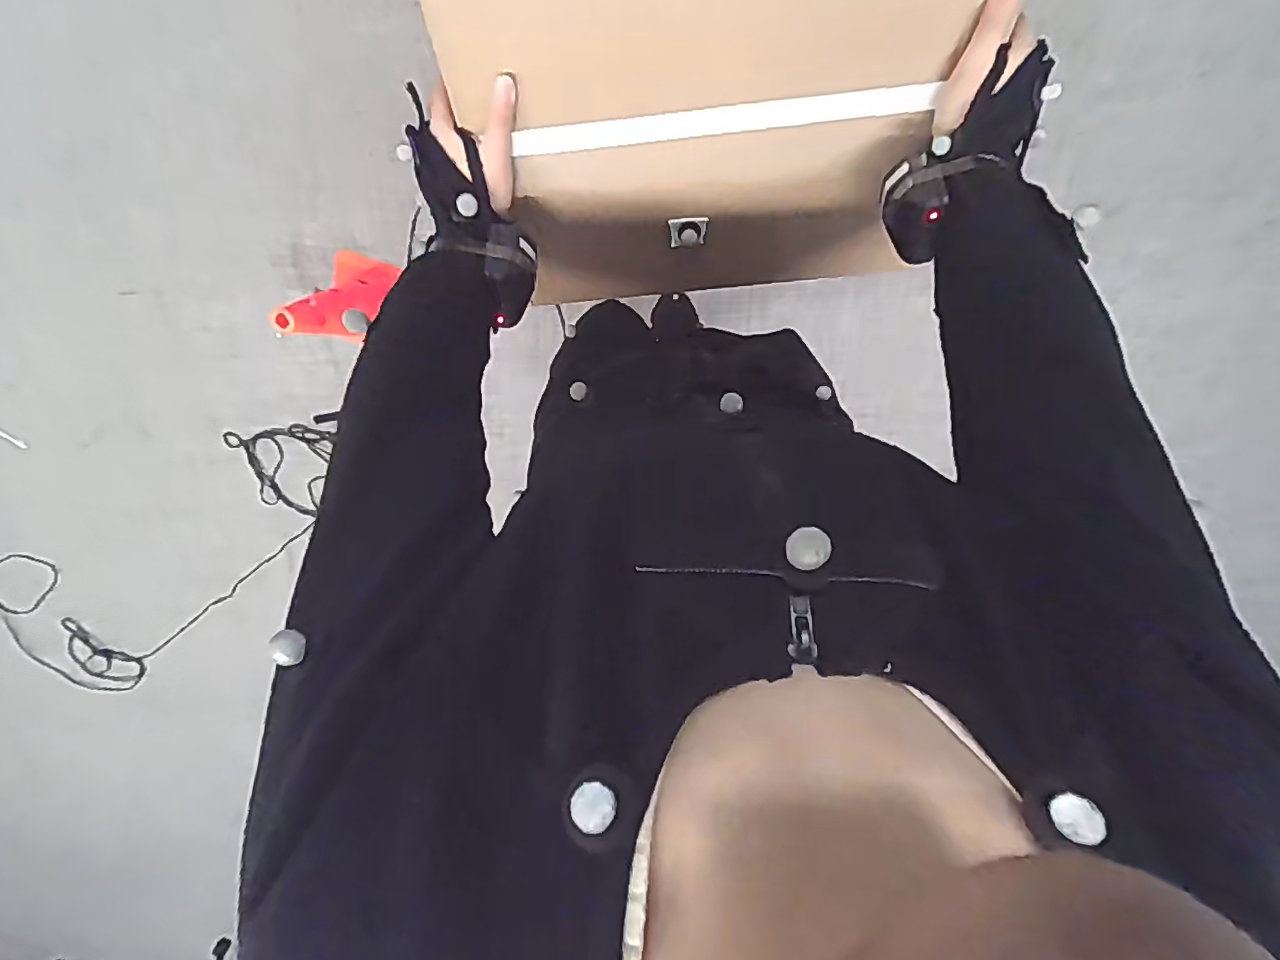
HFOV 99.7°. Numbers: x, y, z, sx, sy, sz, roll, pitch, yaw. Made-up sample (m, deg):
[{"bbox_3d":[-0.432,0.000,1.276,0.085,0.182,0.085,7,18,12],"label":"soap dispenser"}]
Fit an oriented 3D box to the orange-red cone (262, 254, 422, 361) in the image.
[{"bbox_3d":[-0.616,-0.333,1.075,0.199,0.360,0.198,18,109,-4],"label":"orange-red cone"}]
